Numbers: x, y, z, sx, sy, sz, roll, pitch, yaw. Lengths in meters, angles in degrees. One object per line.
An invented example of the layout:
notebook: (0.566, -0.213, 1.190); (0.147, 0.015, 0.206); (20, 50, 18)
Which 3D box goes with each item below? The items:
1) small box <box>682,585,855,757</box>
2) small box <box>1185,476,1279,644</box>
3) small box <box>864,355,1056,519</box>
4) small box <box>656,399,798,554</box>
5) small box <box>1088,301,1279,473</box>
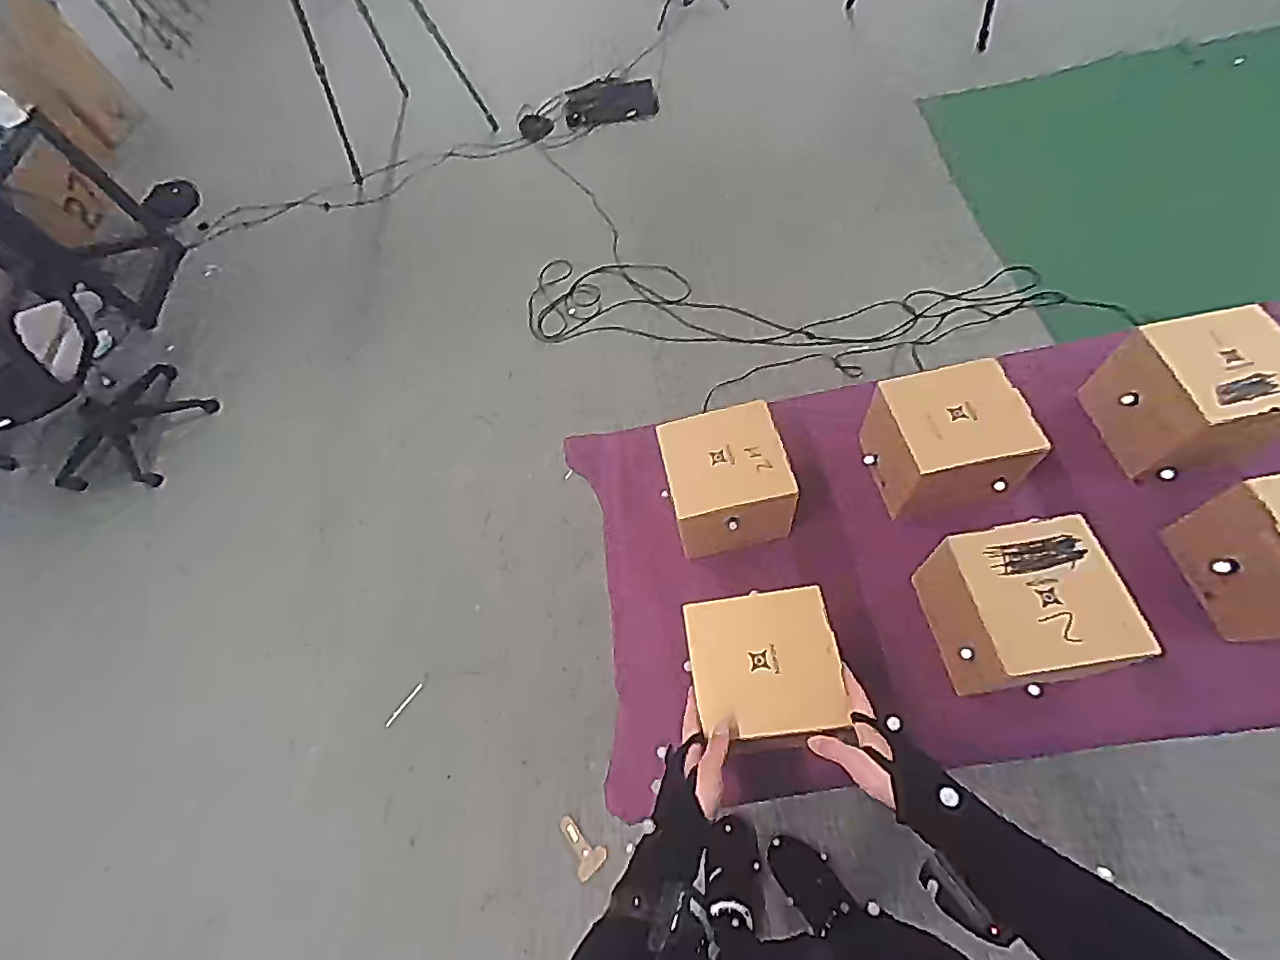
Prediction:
small box: (0.159, 0.253, 0.696); (0.179, 0.176, 0.168); (-10, 57, 7)
small box: (0.841, 0.095, 0.664); (0.179, 0.176, 0.168); (-9, 60, 7)
small box: (0.465, -0.058, 0.821); (0.179, 0.176, 0.168); (-12, 60, 5)
small box: (0.135, 0.003, 0.848); (0.179, 0.176, 0.168); (-13, 61, 4)
small box: (0.817, -0.123, 0.787); (0.168, 0.176, 0.179); (-10, 60, 6)
